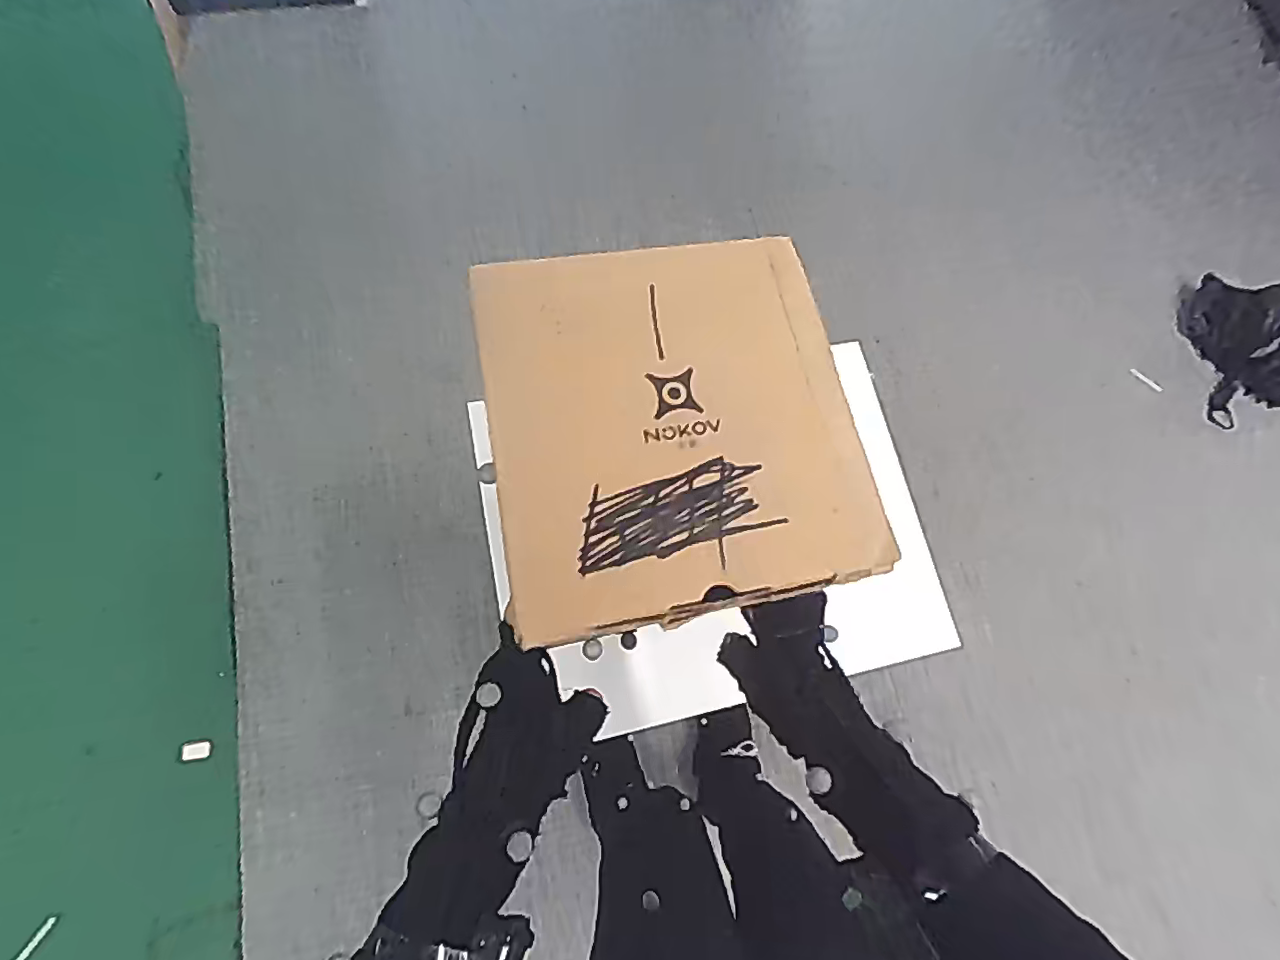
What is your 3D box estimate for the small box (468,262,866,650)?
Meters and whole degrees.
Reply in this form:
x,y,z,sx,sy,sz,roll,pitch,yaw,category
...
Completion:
x,y,z,sx,sy,sz,roll,pitch,yaw,category
0.001,0.000,0.332,0.168,0.176,0.179,-9,73,-9,small box
